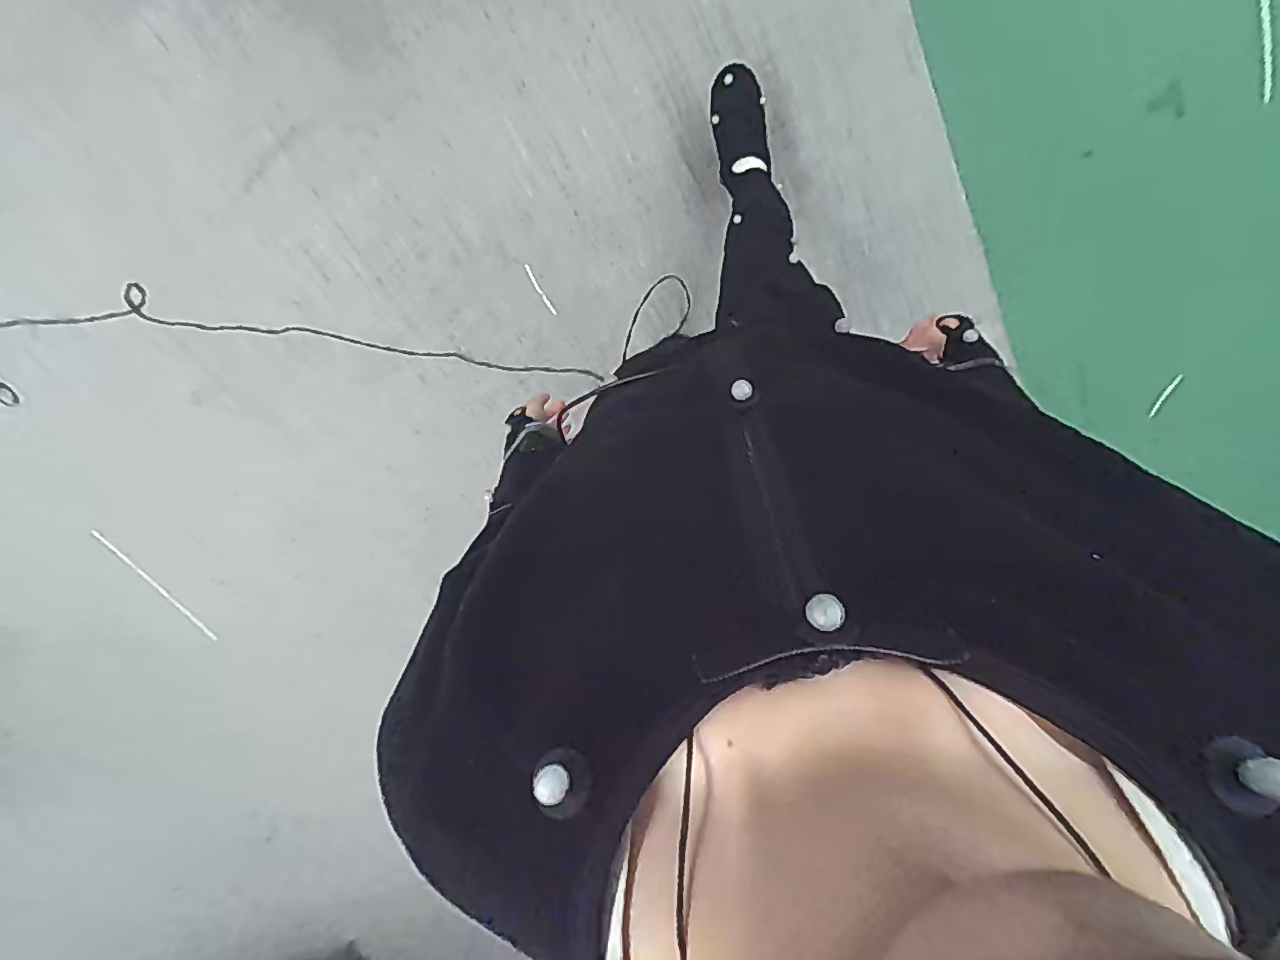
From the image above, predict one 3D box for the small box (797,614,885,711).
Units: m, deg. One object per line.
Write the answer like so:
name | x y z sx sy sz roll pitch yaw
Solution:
small box | 0.543 0.489 1.478 0.168 0.176 0.179 -18 111 8
